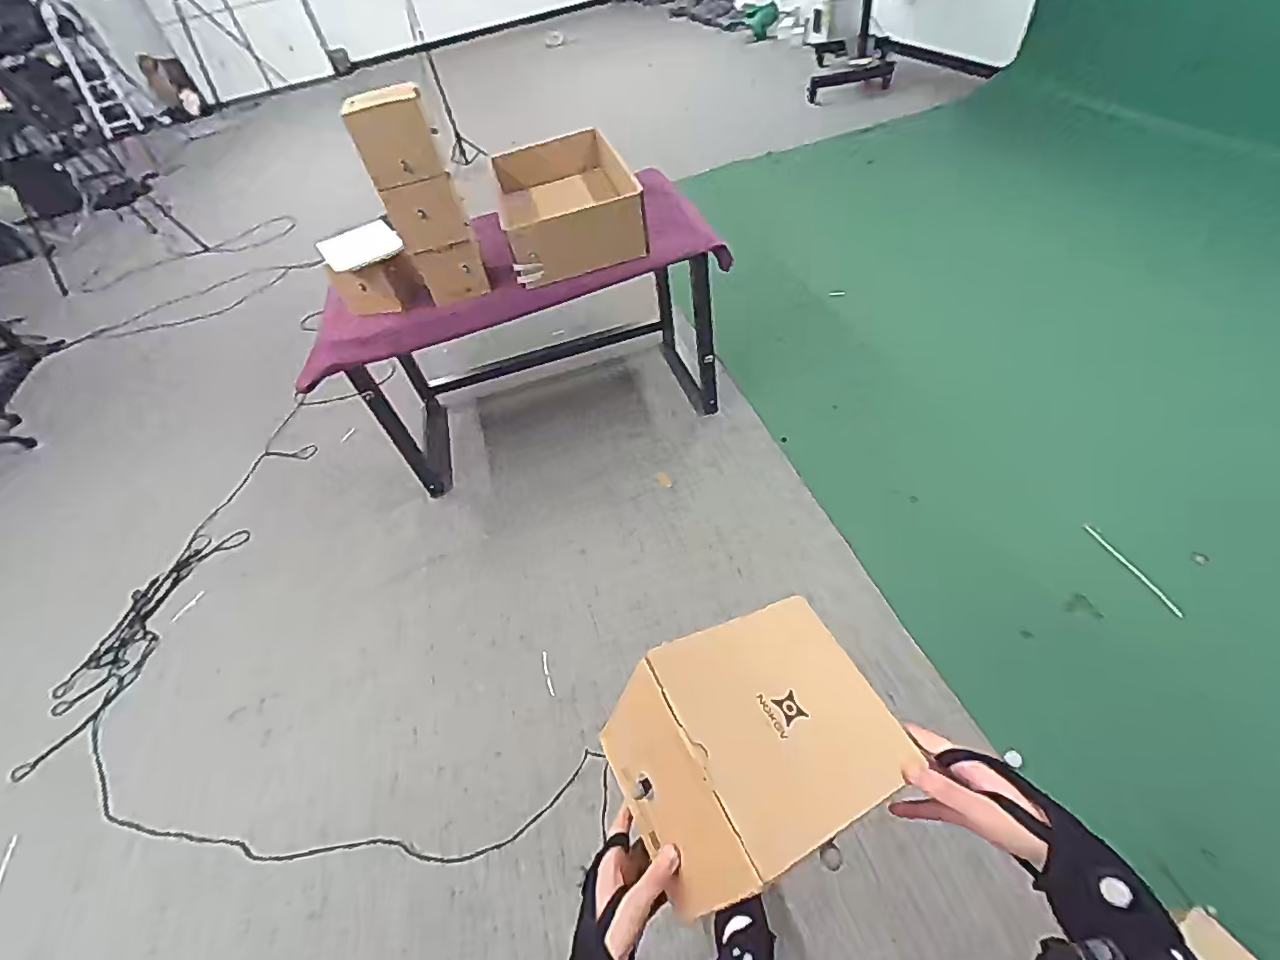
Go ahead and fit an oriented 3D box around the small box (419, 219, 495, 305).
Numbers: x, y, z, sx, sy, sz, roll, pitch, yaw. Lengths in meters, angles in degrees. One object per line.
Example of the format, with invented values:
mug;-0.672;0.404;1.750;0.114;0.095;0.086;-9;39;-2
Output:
small box;-0.537;-0.636;1.597;0.168;0.176;0.179;-16;47;-4

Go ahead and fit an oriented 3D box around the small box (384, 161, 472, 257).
small box;-0.565;-0.734;1.468;0.179;0.176;0.168;-17;47;-3

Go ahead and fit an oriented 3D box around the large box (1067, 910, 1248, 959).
large box;0.804;0.959;0.818;0.408;0.320;0.320;-28;50;-14

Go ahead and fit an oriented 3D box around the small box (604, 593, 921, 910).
small box;0.089;0.231;0.472;0.179;0.176;0.168;-12;51;-28

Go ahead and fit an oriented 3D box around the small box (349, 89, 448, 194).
small box;-0.589;-0.841;1.346;0.179;0.176;0.168;-16;47;-4
